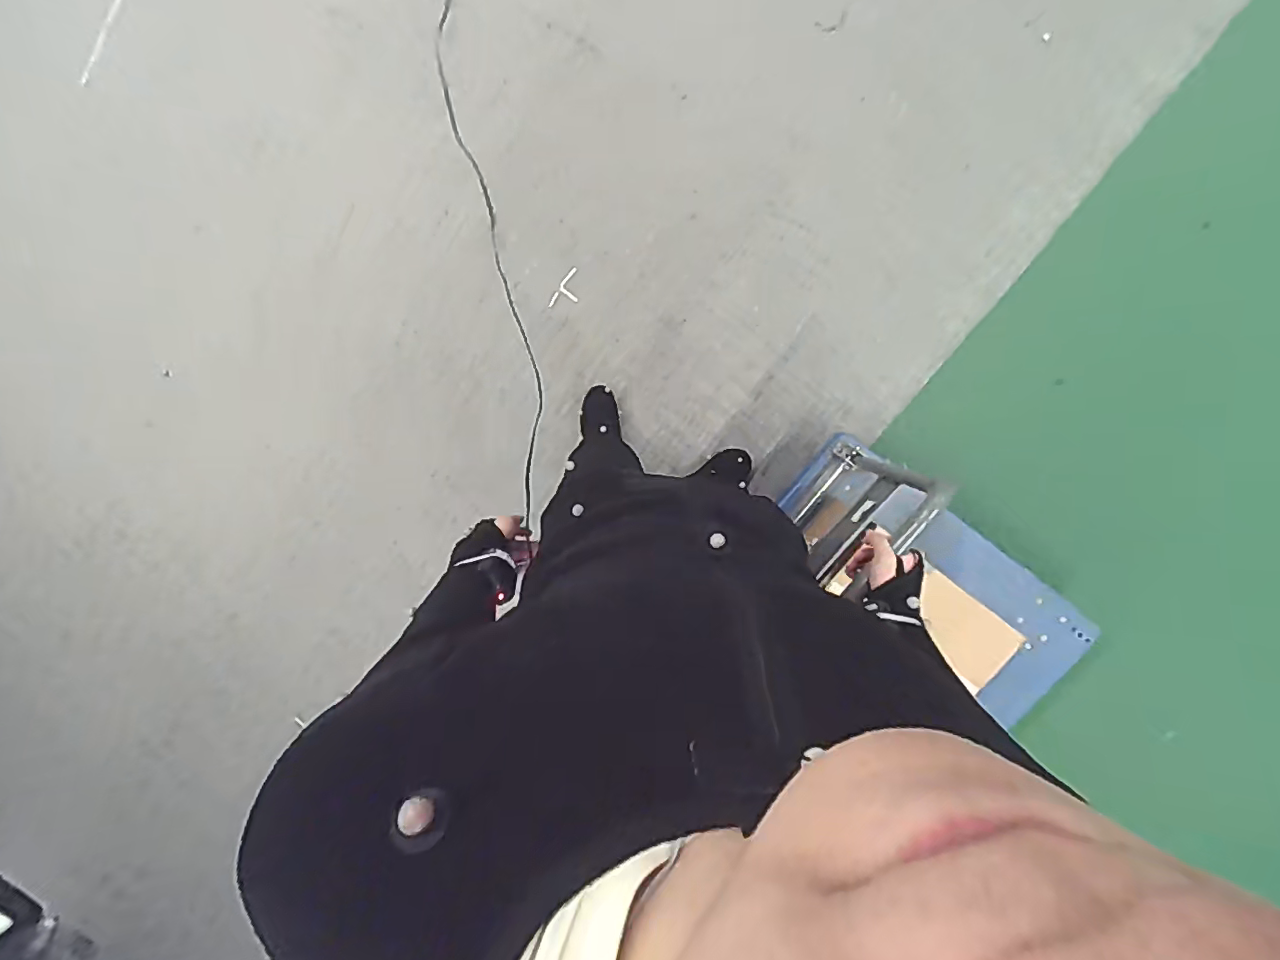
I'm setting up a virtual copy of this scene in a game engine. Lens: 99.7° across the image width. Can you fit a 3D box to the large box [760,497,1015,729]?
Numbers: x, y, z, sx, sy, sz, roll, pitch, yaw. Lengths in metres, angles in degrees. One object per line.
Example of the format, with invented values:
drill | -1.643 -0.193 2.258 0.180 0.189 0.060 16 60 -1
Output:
large box | 0.561 0.296 1.311 0.408 0.320 0.320 37 100 -2
